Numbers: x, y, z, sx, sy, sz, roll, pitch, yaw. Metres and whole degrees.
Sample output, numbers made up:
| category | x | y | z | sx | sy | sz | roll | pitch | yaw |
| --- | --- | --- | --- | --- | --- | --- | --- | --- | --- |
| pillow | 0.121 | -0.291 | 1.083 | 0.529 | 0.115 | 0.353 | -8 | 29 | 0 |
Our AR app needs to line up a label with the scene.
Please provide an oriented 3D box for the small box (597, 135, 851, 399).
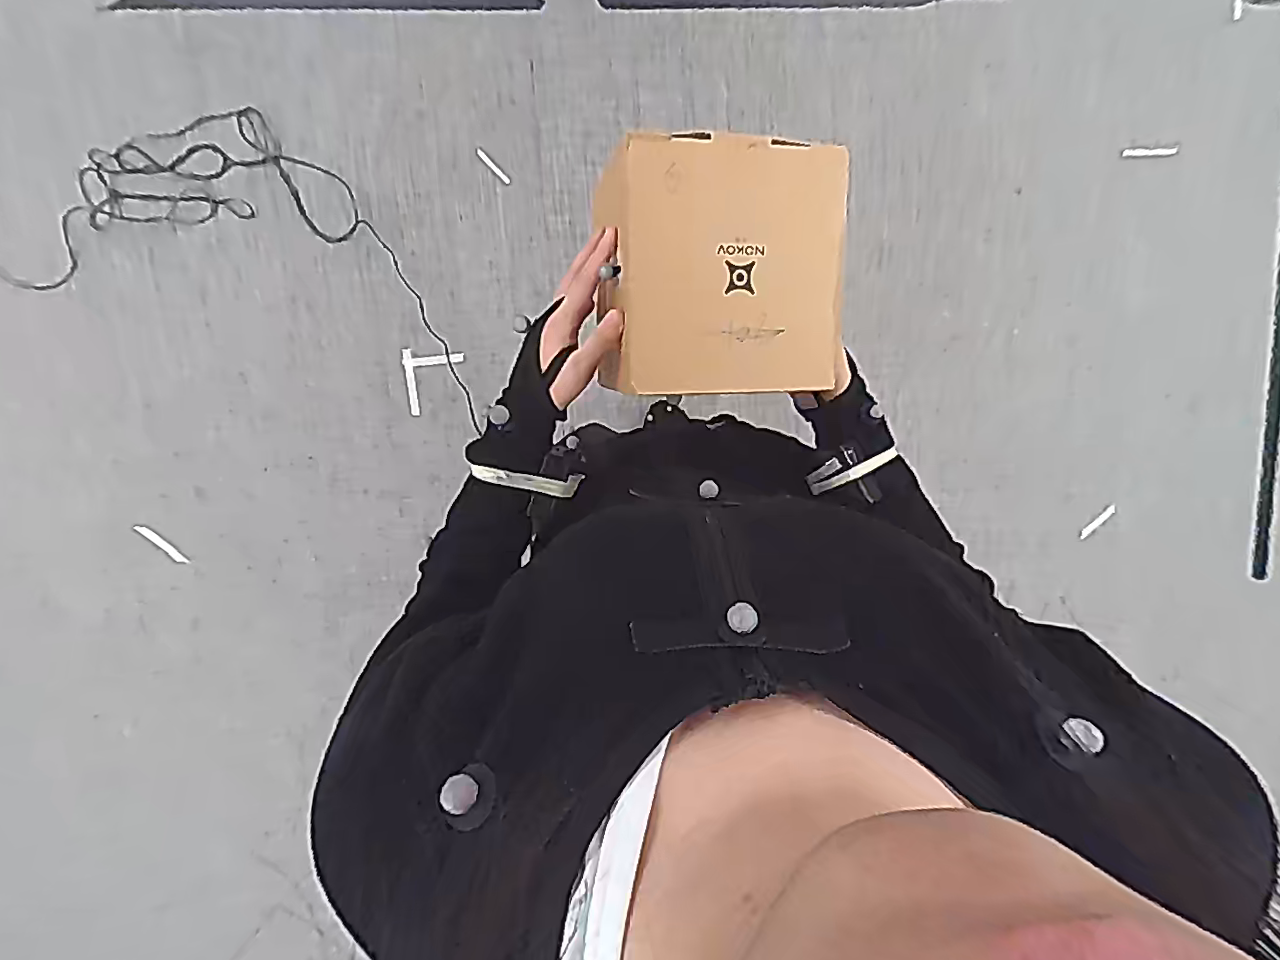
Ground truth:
| category | x | y | z | sx | sy | sz | roll | pitch | yaw |
| --- | --- | --- | --- | --- | --- | --- | --- | --- | --- |
| small box | 0.057 | -0.163 | 0.466 | 0.168 | 0.176 | 0.179 | -3 | 103 | -12 |
